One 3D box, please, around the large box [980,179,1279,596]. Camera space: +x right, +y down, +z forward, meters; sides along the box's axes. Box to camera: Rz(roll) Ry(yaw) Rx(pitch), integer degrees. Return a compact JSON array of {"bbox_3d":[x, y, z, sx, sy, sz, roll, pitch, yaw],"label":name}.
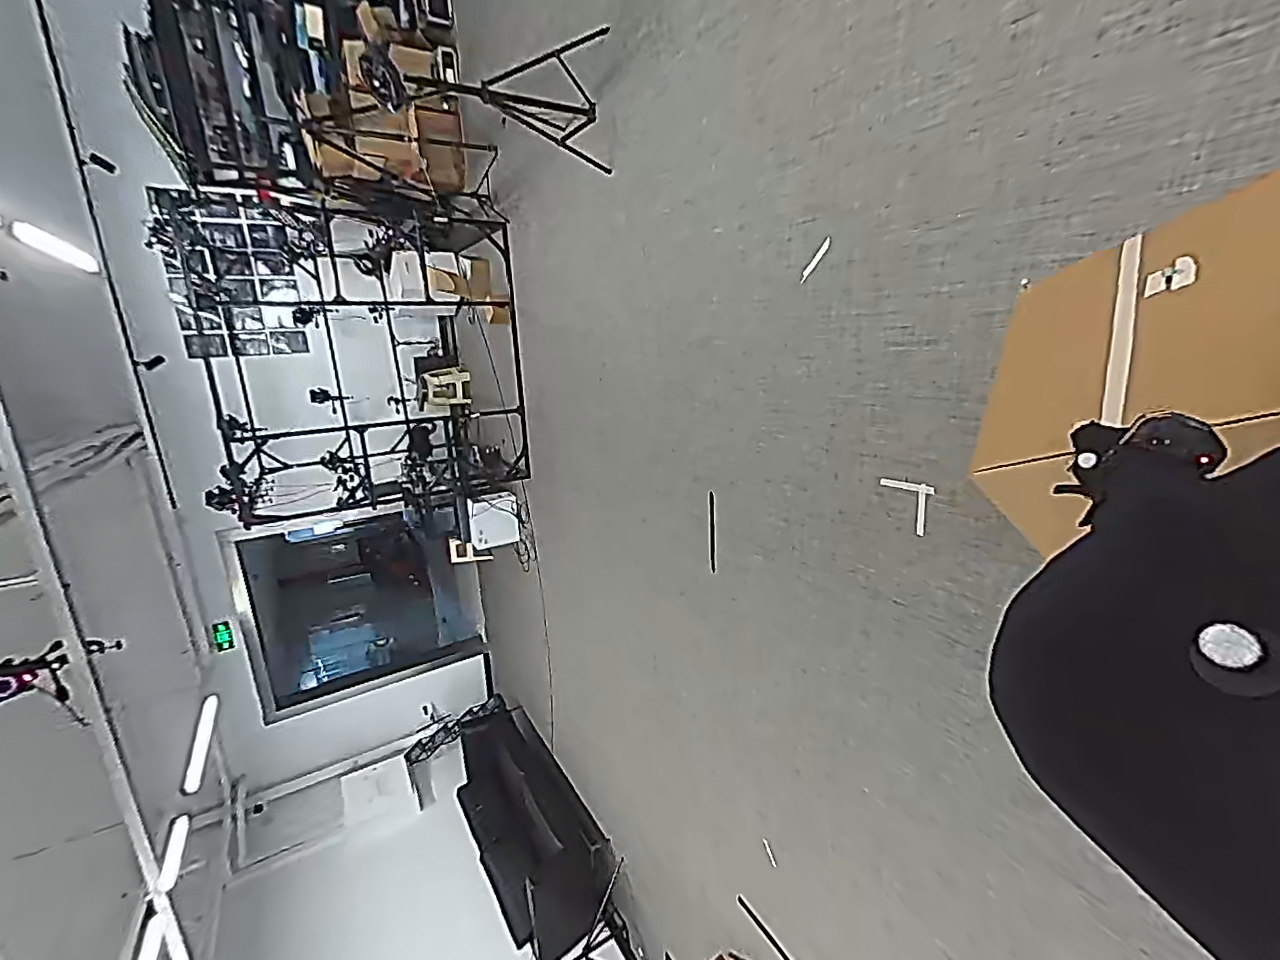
[{"bbox_3d":[0.729,-0.096,0.723,0.320,0.408,0.320,41,153,-17],"label":"large box"}]
